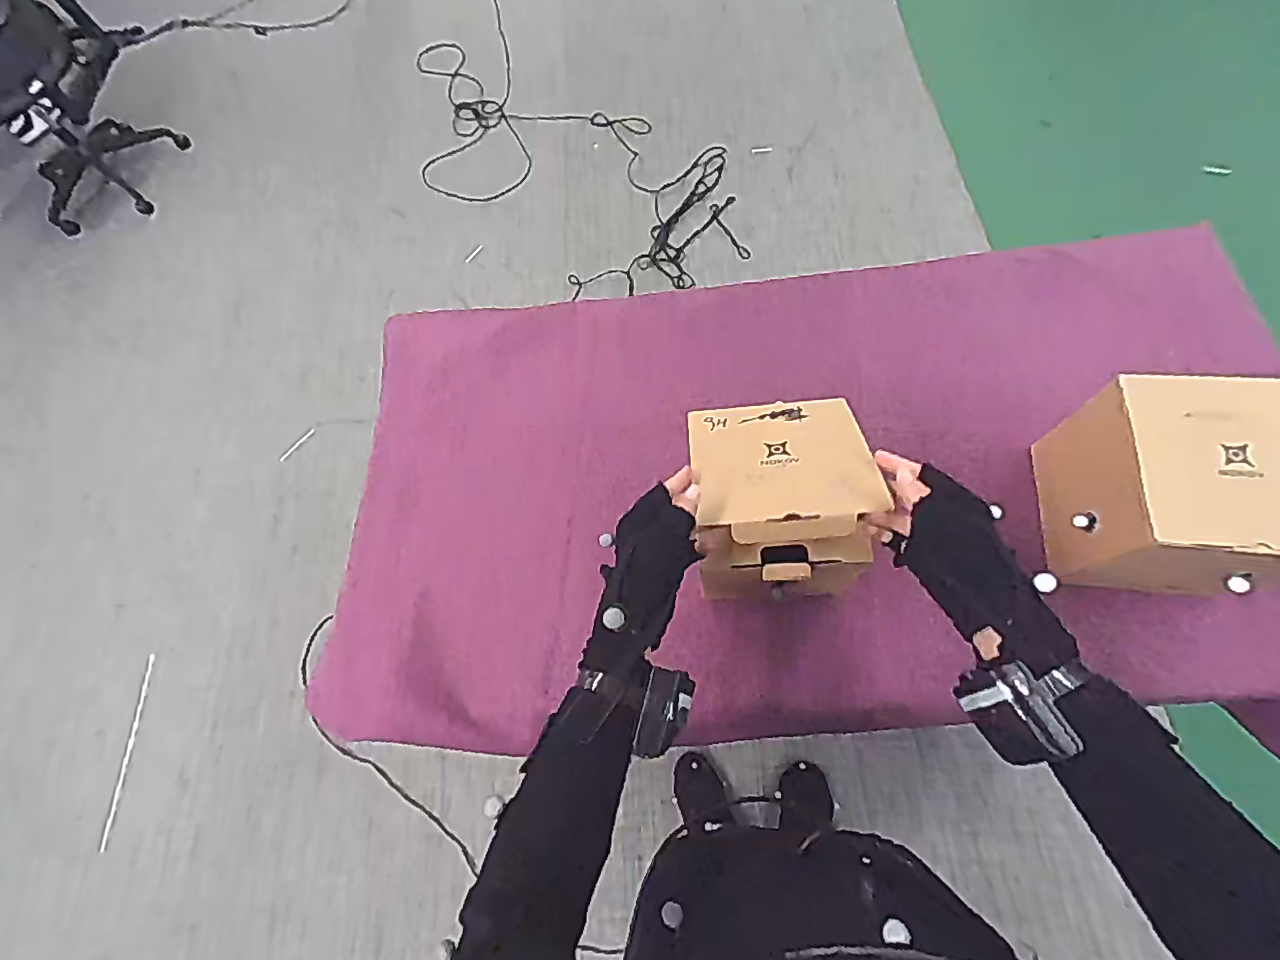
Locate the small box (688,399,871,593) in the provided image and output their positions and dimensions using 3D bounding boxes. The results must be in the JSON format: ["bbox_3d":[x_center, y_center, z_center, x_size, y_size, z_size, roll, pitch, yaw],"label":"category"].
[{"bbox_3d":[0.146,0.031,0.614,0.168,0.176,0.179,-4,68,7],"label":"small box"}]

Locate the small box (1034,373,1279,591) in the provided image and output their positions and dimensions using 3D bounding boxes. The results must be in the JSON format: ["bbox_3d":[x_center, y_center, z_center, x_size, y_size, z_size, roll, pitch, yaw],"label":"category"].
[{"bbox_3d":[0.547,0.010,0.560,0.168,0.176,0.179,4,68,10],"label":"small box"}]
